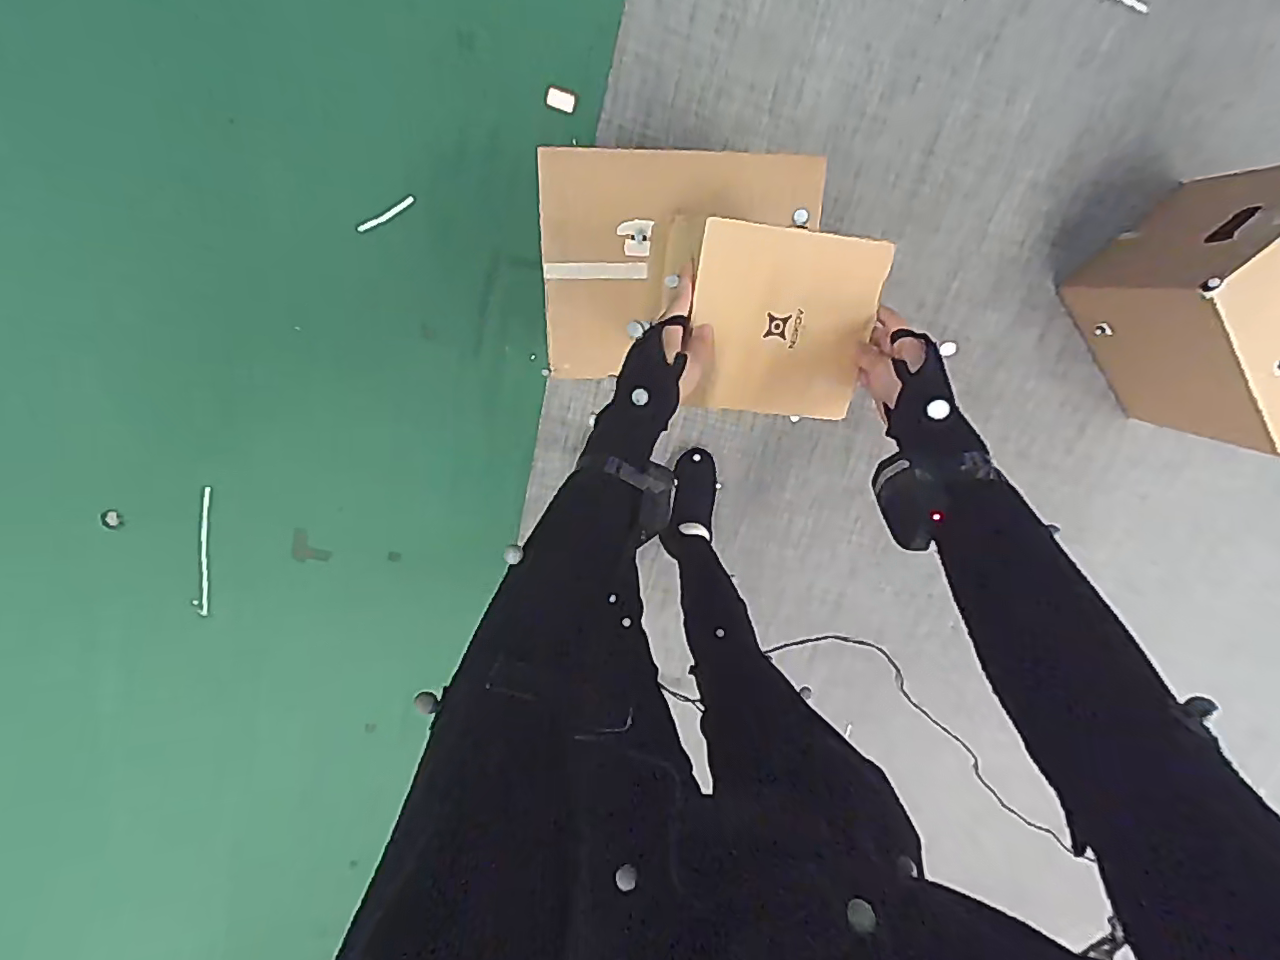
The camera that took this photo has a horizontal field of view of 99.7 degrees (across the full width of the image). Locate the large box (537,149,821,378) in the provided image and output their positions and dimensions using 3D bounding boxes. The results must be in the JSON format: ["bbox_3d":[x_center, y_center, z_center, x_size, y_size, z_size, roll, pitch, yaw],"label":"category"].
[{"bbox_3d":[0.049,-0.359,0.933,0.408,0.320,0.320,-1,109,-4],"label":"large box"}]

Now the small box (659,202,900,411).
[{"bbox_3d":[0.122,-0.181,0.559,0.179,0.176,0.168,4,115,-9],"label":"small box"}]

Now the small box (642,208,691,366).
[{"bbox_3d":[0.098,-0.246,0.715,0.168,0.176,0.179,3,110,-8],"label":"small box"}]
